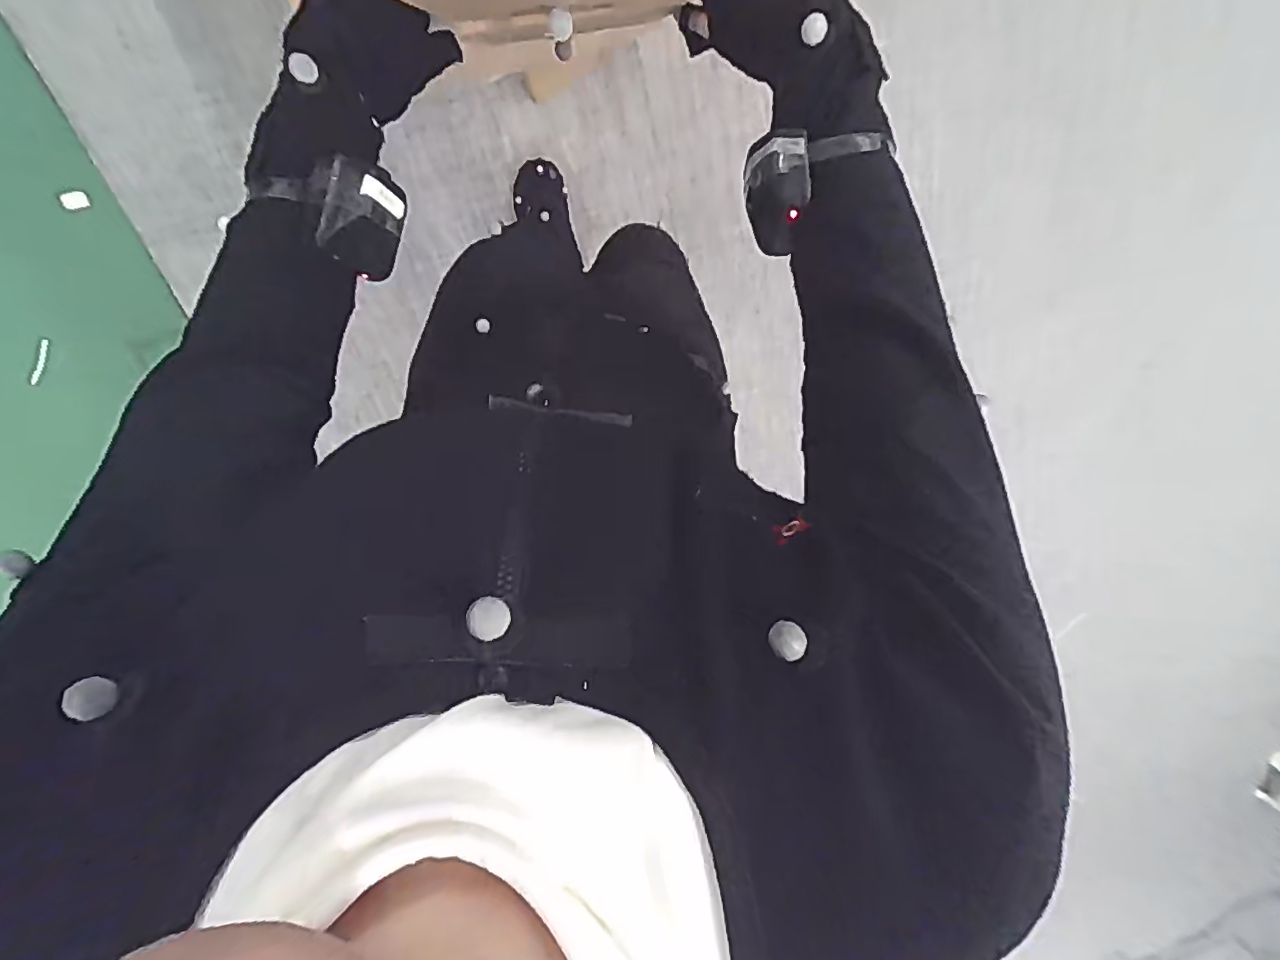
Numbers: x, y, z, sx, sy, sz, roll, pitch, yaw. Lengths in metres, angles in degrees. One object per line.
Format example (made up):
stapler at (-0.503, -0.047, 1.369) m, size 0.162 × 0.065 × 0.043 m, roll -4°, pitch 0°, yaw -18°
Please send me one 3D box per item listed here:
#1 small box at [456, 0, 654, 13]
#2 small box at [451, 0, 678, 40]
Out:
small box at (-0.050, -0.348, 0.254) m, size 0.168 × 0.176 × 0.179 m, roll -6°, pitch 126°, yaw -1°
small box at (-0.064, -0.442, 0.389) m, size 0.168 × 0.176 × 0.179 m, roll -8°, pitch 128°, yaw 1°
